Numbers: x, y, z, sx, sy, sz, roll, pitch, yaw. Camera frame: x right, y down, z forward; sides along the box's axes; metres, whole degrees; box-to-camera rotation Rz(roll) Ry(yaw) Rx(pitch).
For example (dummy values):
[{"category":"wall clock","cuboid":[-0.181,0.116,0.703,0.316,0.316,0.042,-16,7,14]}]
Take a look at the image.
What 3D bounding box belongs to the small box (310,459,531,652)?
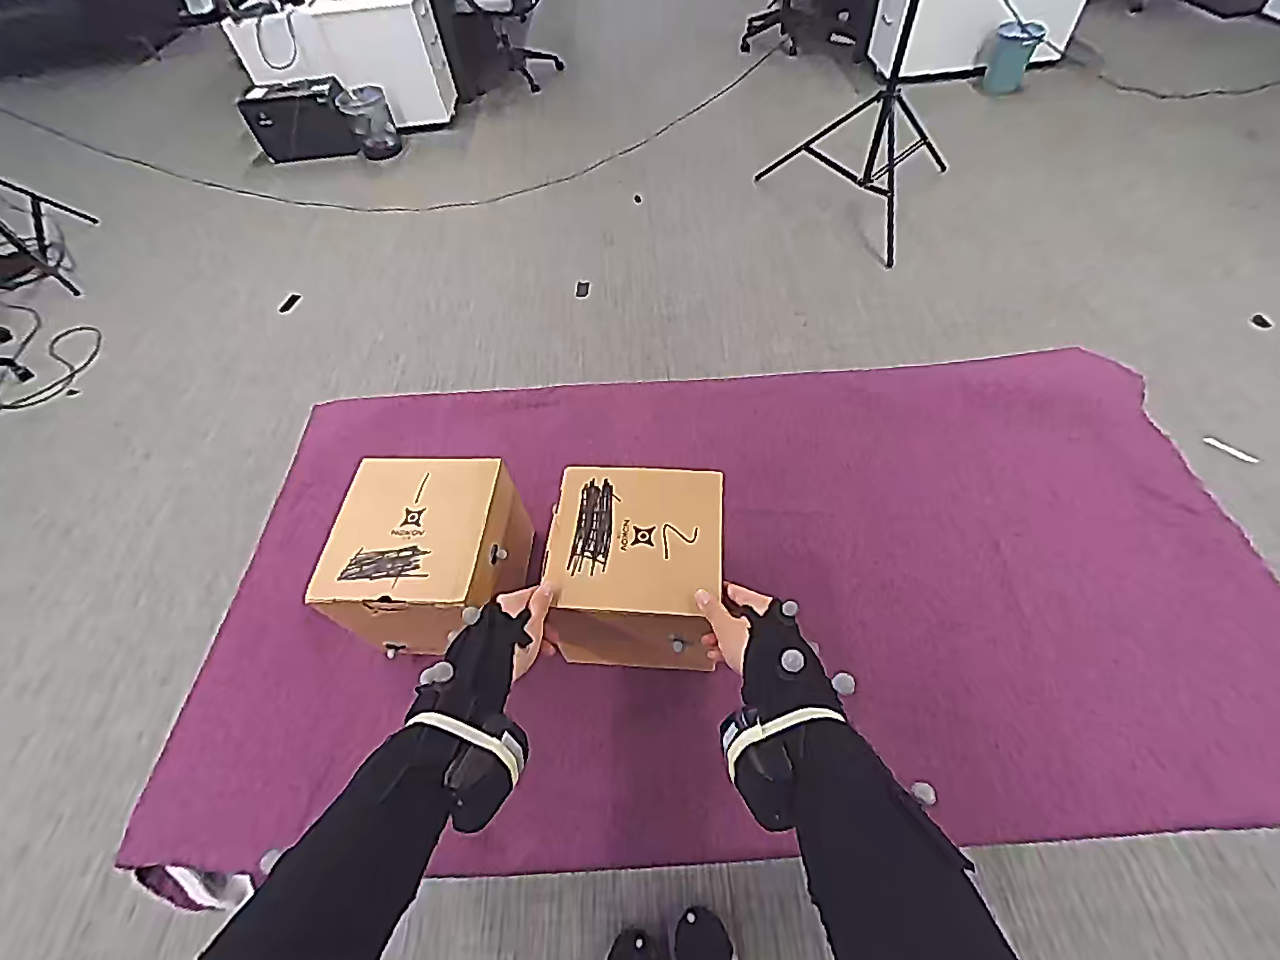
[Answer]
[{"category":"small box","cuboid":[-0.236,0.093,0.637,0.168,0.176,0.179,0,54,4]}]
